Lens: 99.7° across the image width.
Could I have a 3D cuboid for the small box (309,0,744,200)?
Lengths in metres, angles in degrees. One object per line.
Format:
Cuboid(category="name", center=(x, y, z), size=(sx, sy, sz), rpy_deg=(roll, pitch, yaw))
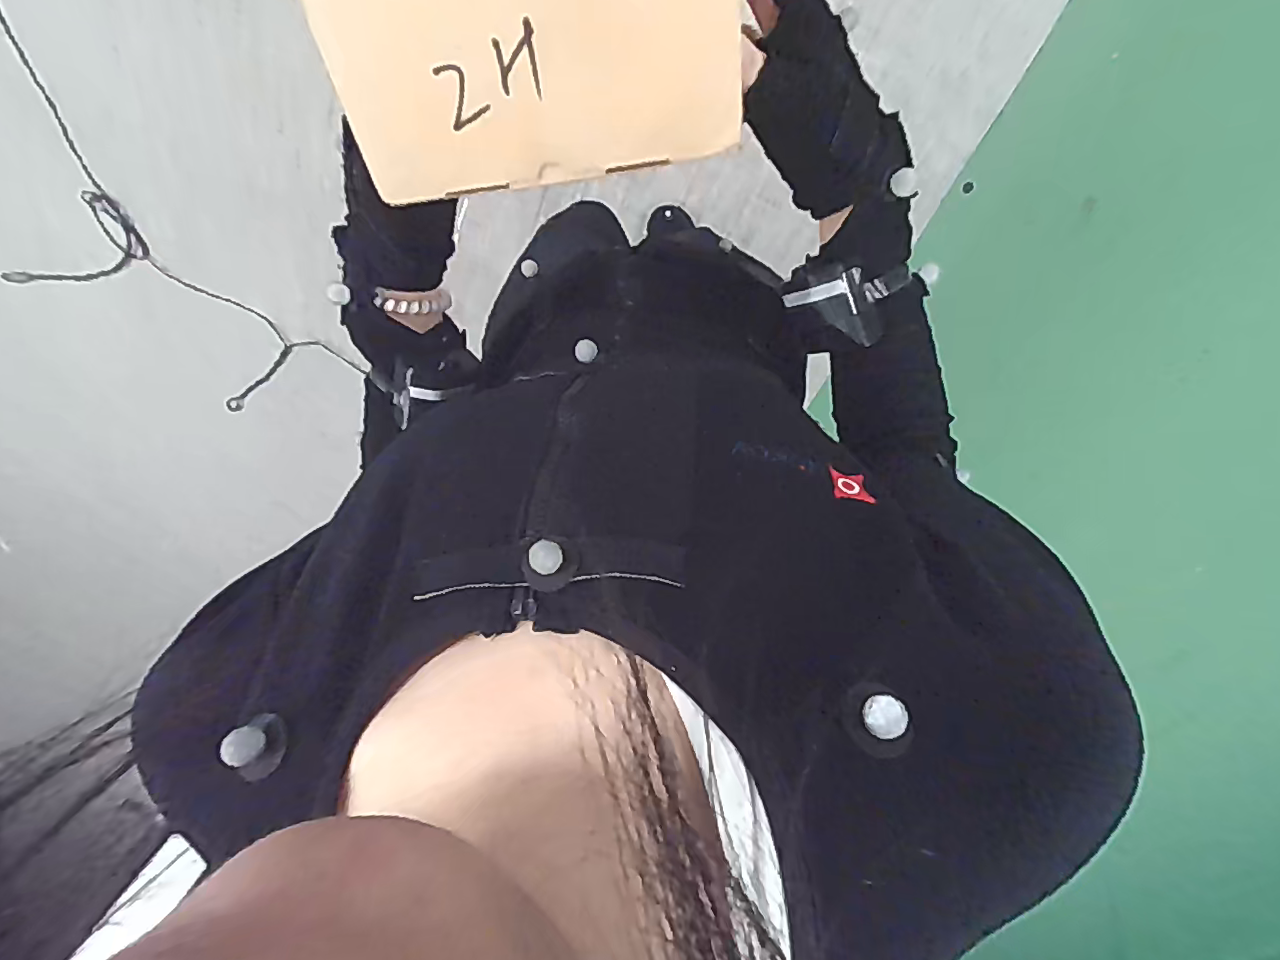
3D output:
Cuboid(category="small box", center=(-0.043, -0.251, 0.249), size=(0.168, 0.176, 0.179), rpy_deg=(-3, 130, 8))
